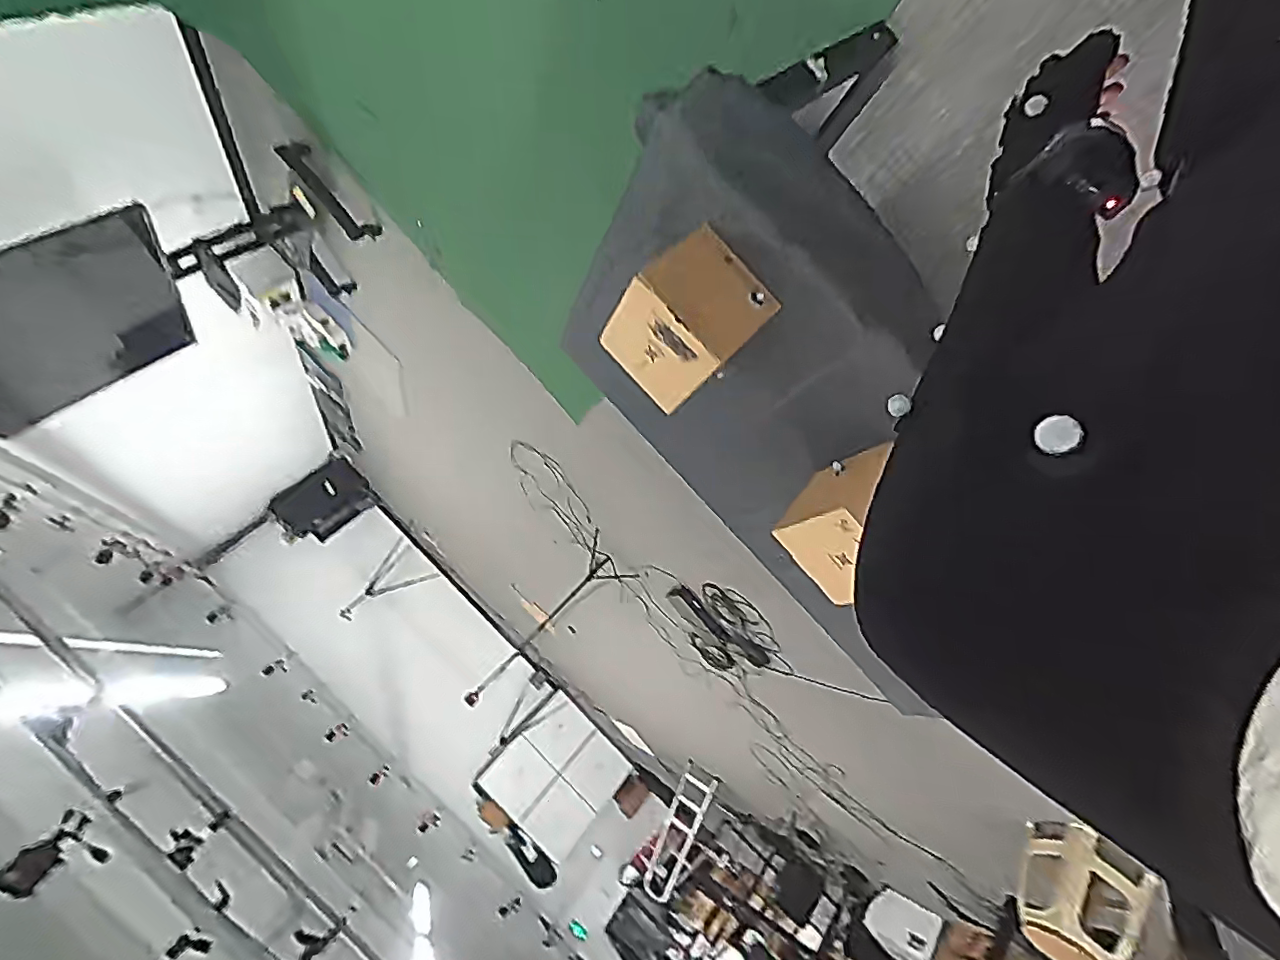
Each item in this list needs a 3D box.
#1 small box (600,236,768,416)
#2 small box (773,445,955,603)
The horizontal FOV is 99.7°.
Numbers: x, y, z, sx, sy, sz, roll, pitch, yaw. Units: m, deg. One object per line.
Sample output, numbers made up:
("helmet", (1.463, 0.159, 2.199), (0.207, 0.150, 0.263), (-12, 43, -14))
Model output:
("small box", (0.071, -0.236, 0.837), (0.168, 0.176, 0.179), (47, 153, -3))
("small box", (0.356, 0.073, 0.865), (0.168, 0.176, 0.179), (47, 152, -3))
